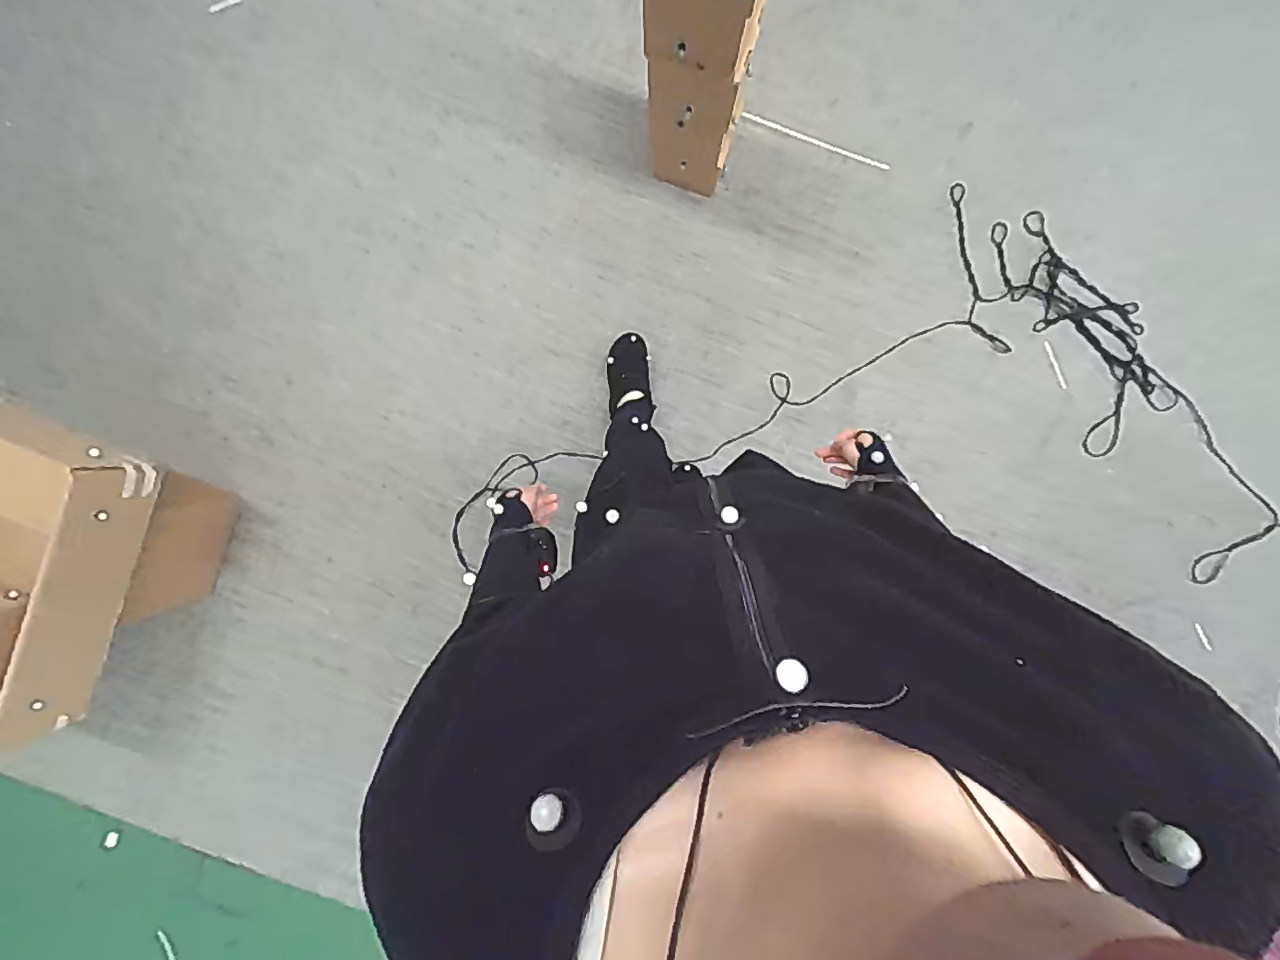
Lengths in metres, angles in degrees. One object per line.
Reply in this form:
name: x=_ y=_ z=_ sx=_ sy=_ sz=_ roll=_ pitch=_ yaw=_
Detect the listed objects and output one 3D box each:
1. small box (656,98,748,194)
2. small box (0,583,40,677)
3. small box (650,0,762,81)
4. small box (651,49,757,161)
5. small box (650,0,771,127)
small box: x=0.148 y=-0.848 z=1.349 sx=0.179 sy=0.176 sz=0.168 roll=20 pitch=95 yaw=0
small box: x=-1.347 y=0.298 z=1.050 sx=0.168 sy=0.176 sz=0.179 roll=23 pitch=94 yaw=-1
small box: x=0.114 y=-0.797 z=0.863 sx=0.168 sy=0.176 sz=0.179 roll=18 pitch=96 yaw=1
small box: x=0.133 y=-0.840 z=1.186 sx=0.179 sy=0.176 sz=0.168 roll=20 pitch=96 yaw=0
small box: x=0.126 y=-0.811 z=1.025 sx=0.179 sy=0.176 sz=0.168 roll=18 pitch=95 yaw=0
